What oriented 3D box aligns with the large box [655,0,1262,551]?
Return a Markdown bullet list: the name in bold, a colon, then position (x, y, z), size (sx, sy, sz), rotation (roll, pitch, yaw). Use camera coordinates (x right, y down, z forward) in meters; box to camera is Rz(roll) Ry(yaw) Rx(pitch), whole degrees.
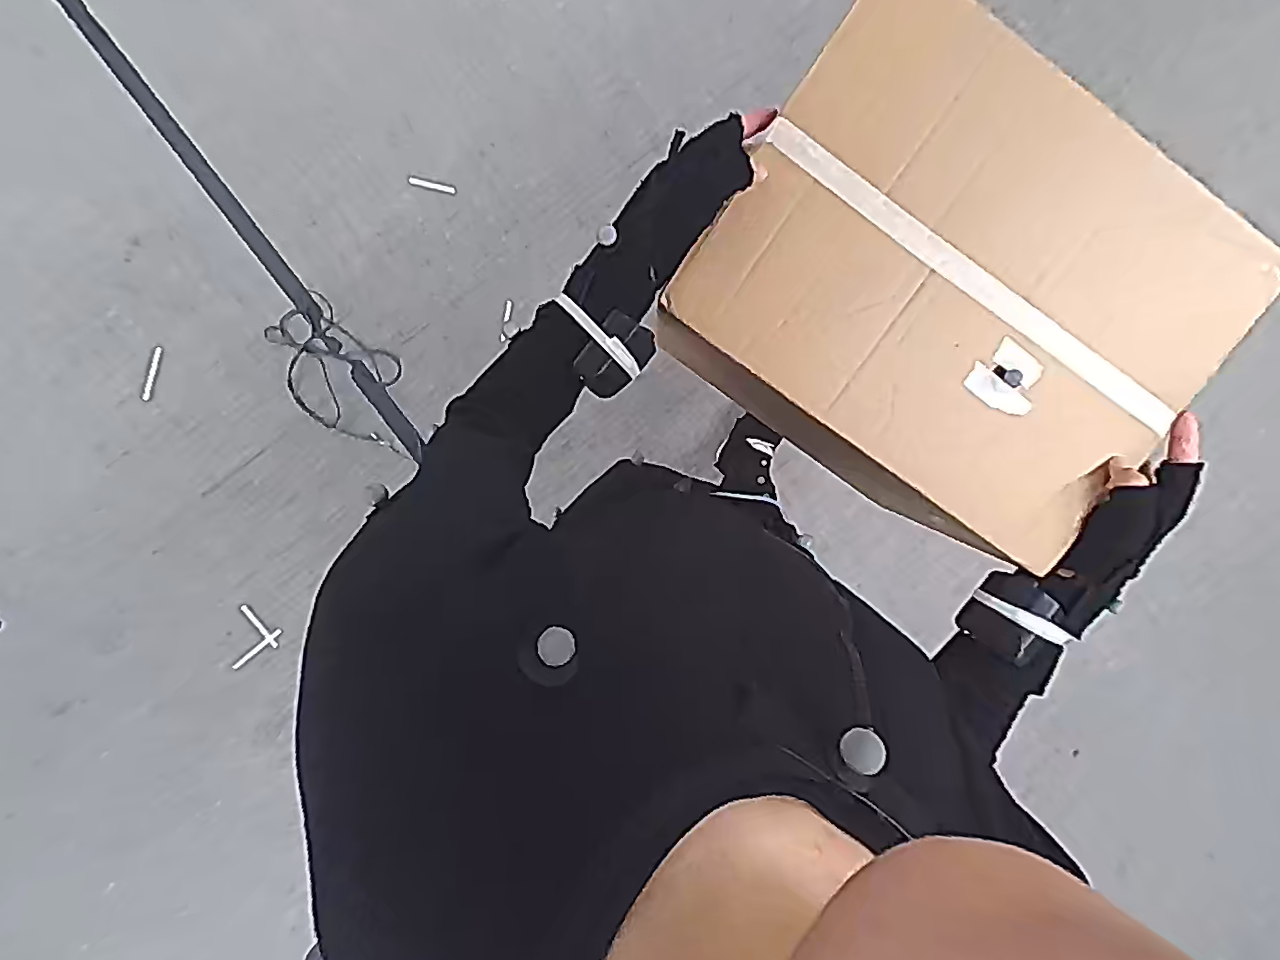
- **large box**: position (0.266, -0.188, 0.594), size (0.408, 0.320, 0.320), rotation (35, 98, -5)
